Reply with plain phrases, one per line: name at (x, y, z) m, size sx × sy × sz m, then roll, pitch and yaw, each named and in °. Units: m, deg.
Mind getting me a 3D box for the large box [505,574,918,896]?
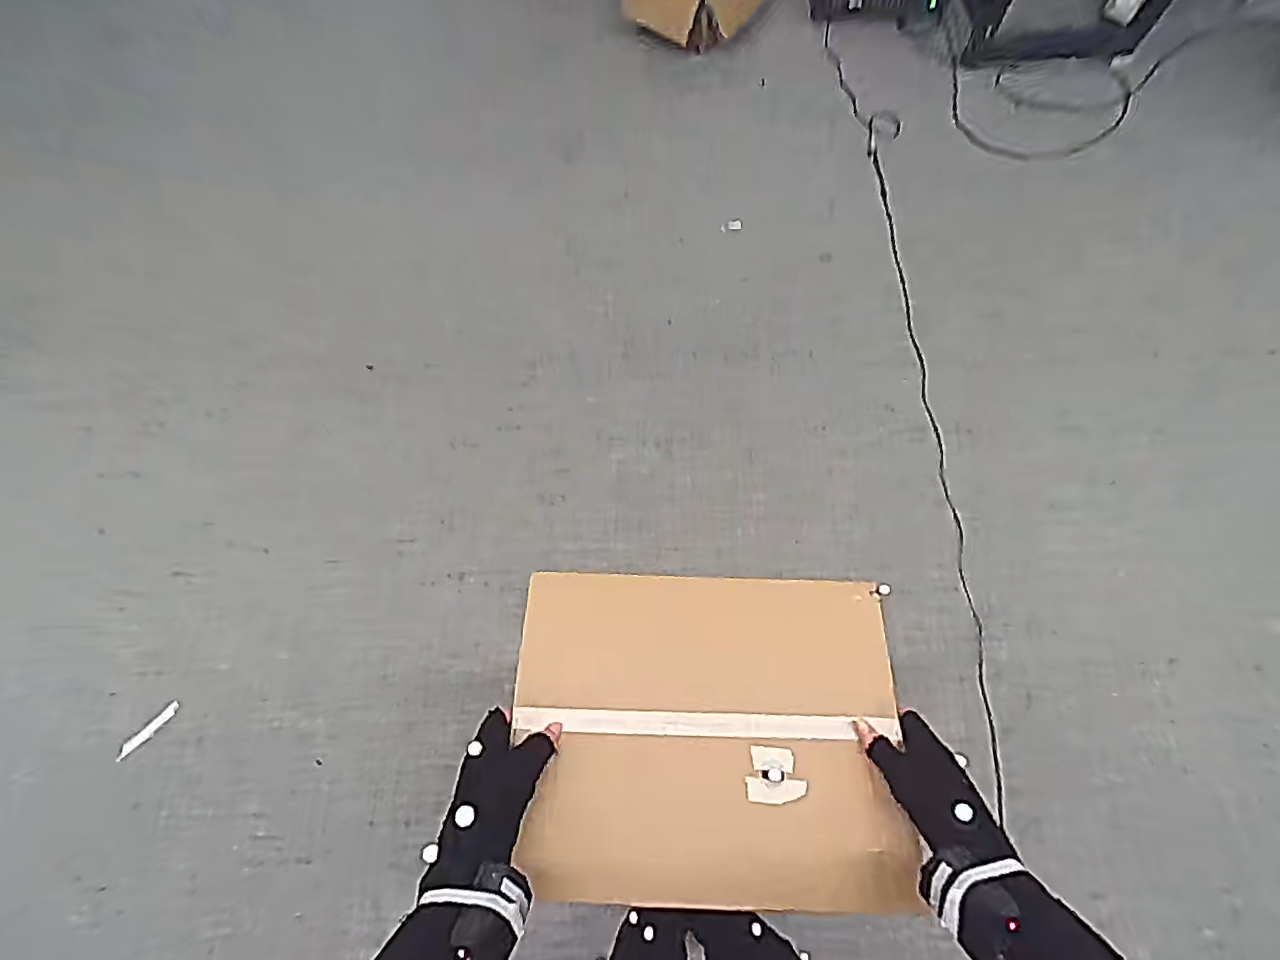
large box at (0.066, 0.319, 0.709) m, size 0.408 × 0.320 × 0.320 m, roll 1°, pitch 65°, yaw 0°
